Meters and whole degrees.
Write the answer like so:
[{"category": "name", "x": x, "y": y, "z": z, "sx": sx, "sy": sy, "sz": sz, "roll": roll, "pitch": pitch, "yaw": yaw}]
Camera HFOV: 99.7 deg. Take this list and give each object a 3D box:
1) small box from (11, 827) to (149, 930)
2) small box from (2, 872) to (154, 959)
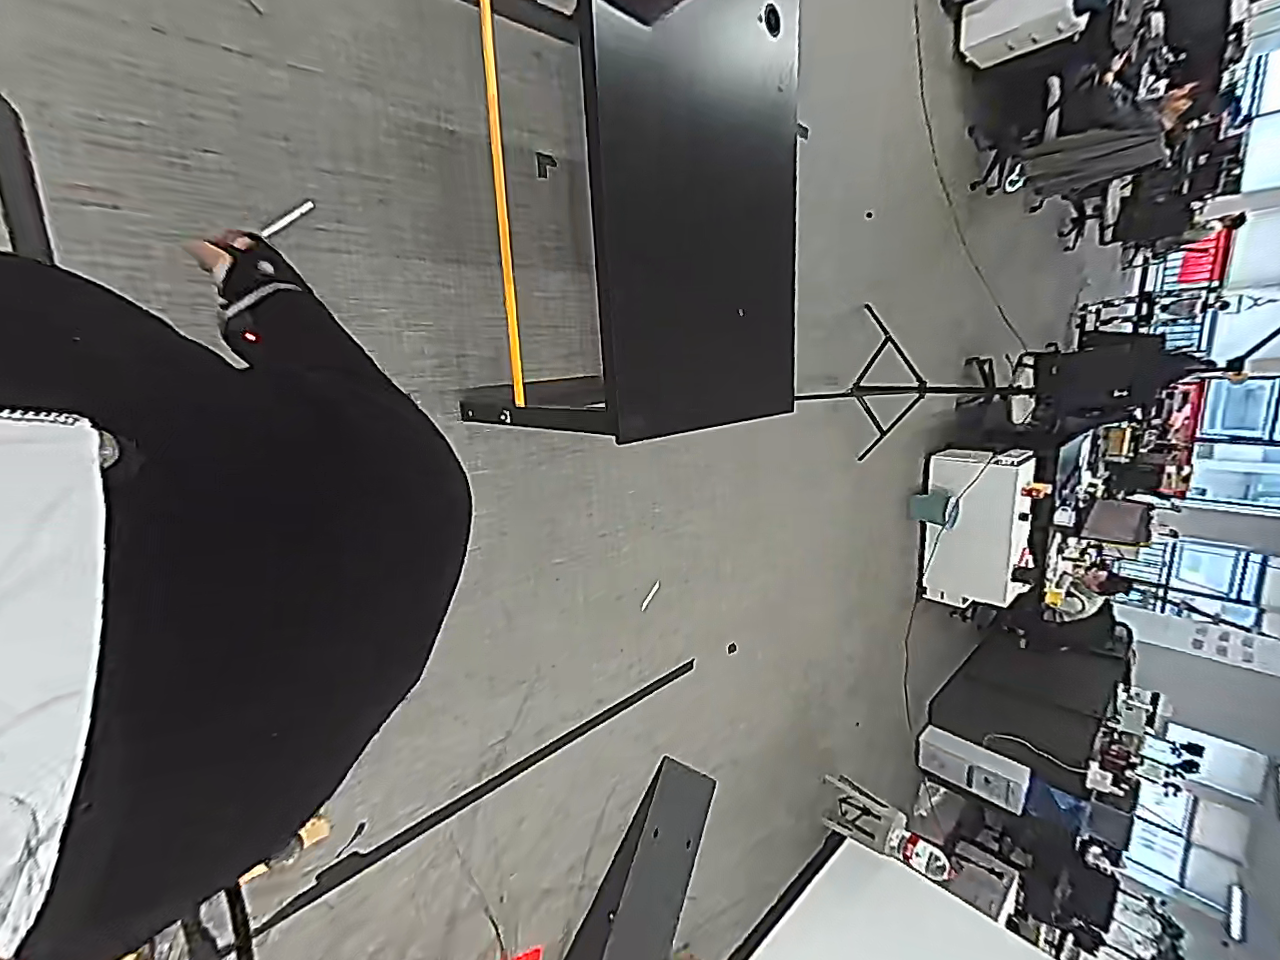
[{"category": "small box", "x": -1.116, "y": 0.845, "z": 1.089, "sx": 0.168, "sy": 0.176, "sz": 0.179, "roll": -12, "pitch": 104, "yaw": -41}, {"category": "small box", "x": -1.002, "y": 0.867, "z": 0.971, "sx": 0.179, "sy": 0.176, "sz": 0.168, "roll": -13, "pitch": 106, "yaw": -39}]
